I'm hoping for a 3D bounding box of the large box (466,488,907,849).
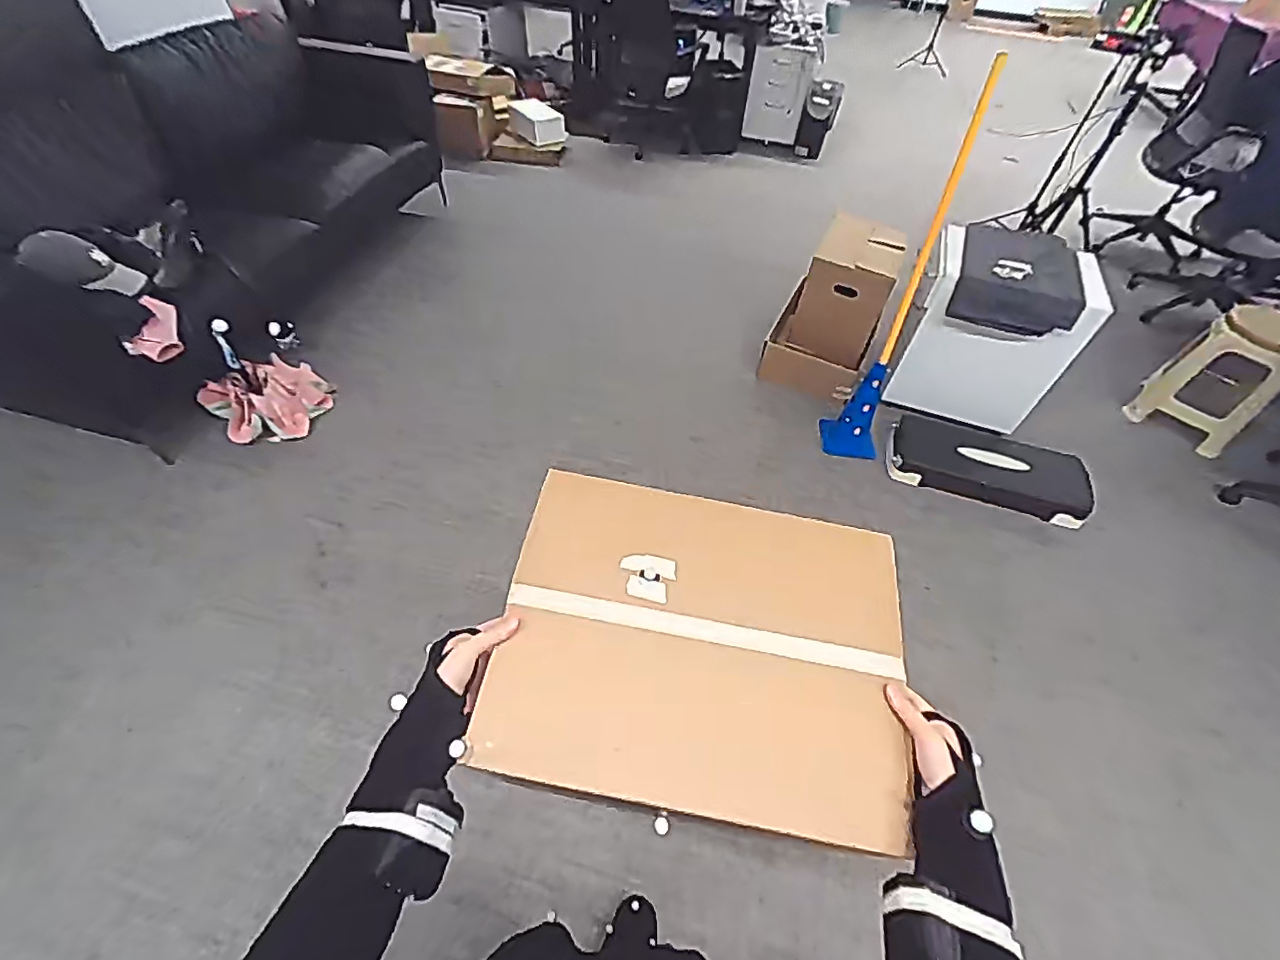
[{"bbox_3d":[0.054,0.245,0.681,0.408,0.320,0.320,10,56,2],"label":"large box"}]
